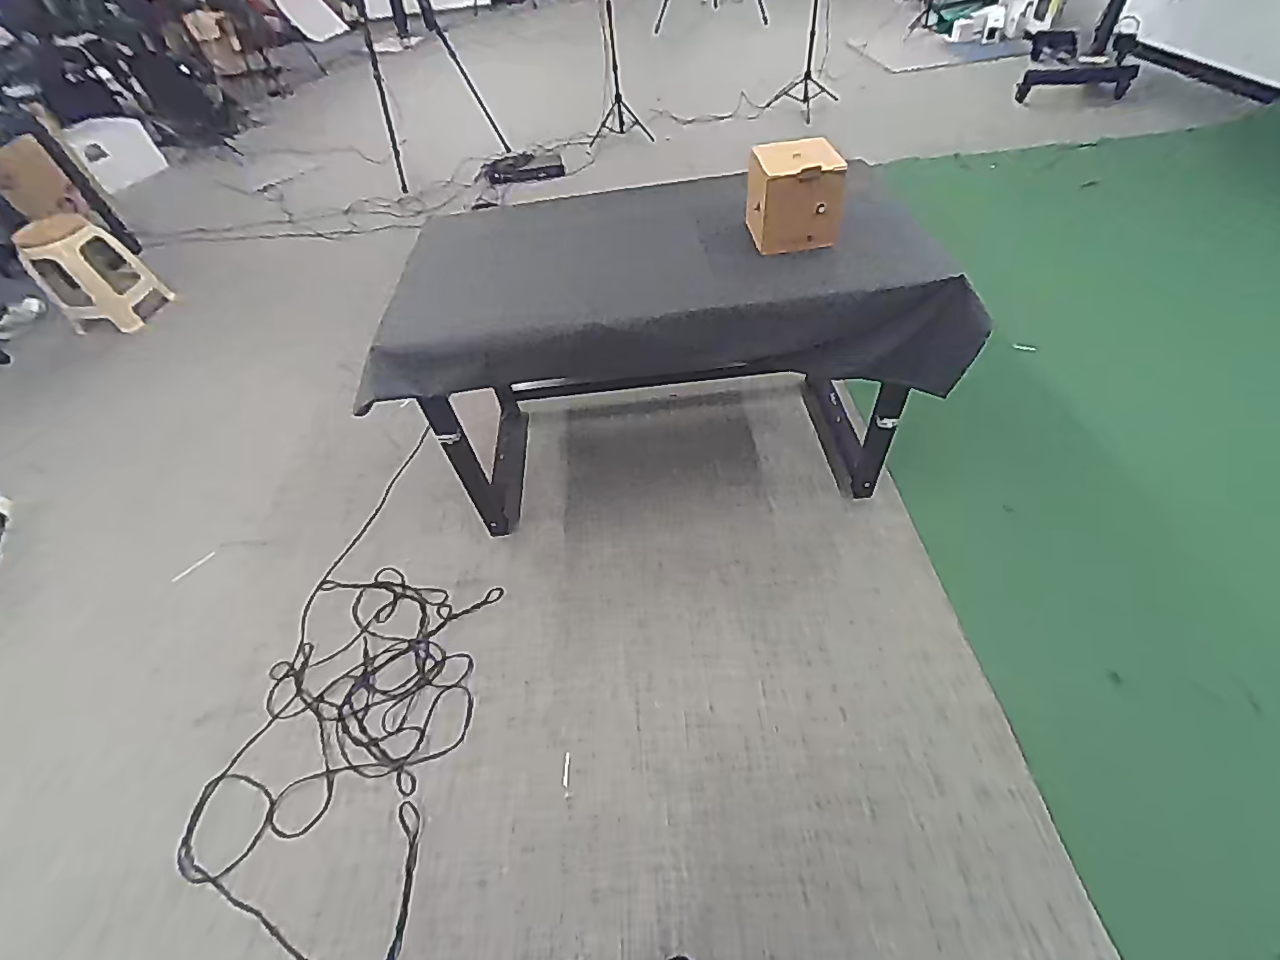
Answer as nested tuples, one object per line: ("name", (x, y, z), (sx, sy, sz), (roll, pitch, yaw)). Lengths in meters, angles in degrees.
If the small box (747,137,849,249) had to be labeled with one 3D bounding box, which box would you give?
("small box", (0.336, -0.621, 1.185), (0.168, 0.176, 0.179), (-7, 48, 0))
